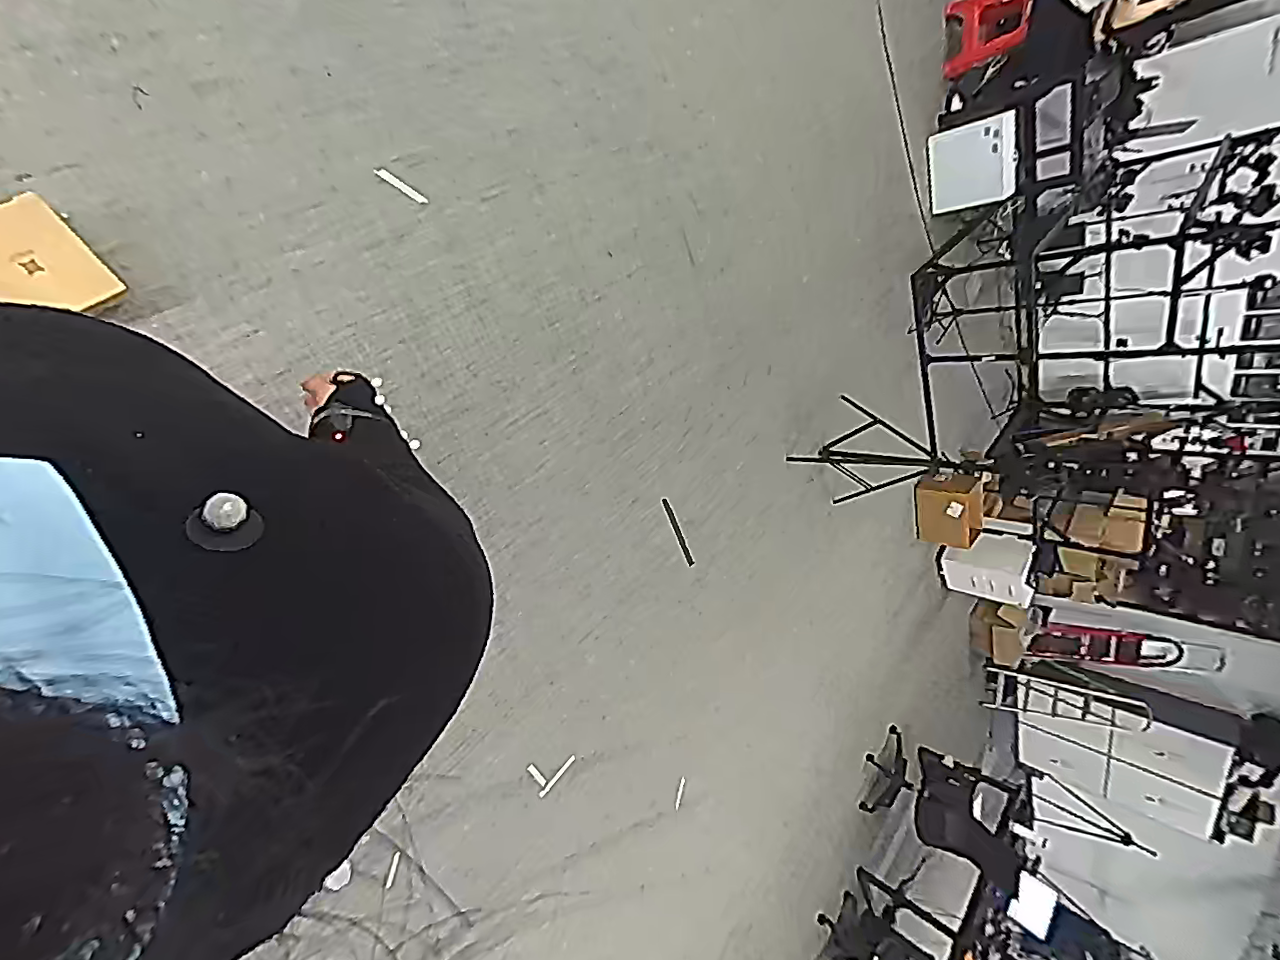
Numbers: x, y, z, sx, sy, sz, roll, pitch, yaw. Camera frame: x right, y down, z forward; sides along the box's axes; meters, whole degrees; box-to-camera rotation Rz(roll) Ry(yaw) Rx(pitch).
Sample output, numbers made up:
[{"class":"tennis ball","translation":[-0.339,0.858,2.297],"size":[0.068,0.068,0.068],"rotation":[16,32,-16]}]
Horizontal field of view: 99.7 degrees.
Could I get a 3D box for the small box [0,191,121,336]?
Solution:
[{"class":"small box","translation":[-1.062,-0.367,0.943],"size":[0.168,0.176,0.179],"rotation":[-46,125,-27]}]
